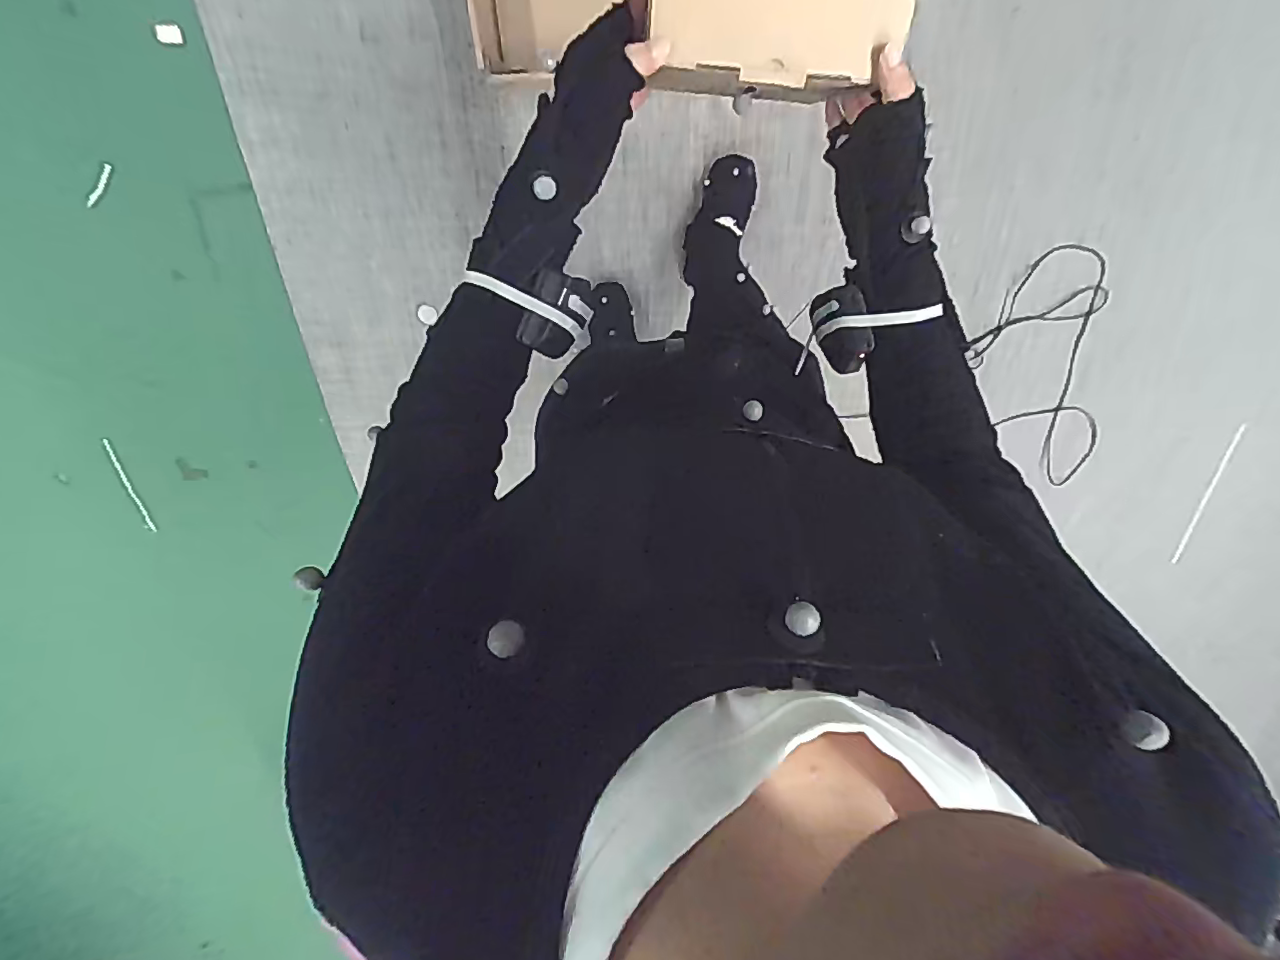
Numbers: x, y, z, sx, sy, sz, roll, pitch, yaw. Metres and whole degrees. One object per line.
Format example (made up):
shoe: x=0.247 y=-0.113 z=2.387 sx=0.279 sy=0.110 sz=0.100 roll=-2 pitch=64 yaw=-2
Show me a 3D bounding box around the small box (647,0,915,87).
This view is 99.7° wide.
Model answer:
small box: x=0.090 y=-0.386 z=0.375 sx=0.168 sy=0.176 sz=0.179 roll=0 pitch=122 yaw=-1
